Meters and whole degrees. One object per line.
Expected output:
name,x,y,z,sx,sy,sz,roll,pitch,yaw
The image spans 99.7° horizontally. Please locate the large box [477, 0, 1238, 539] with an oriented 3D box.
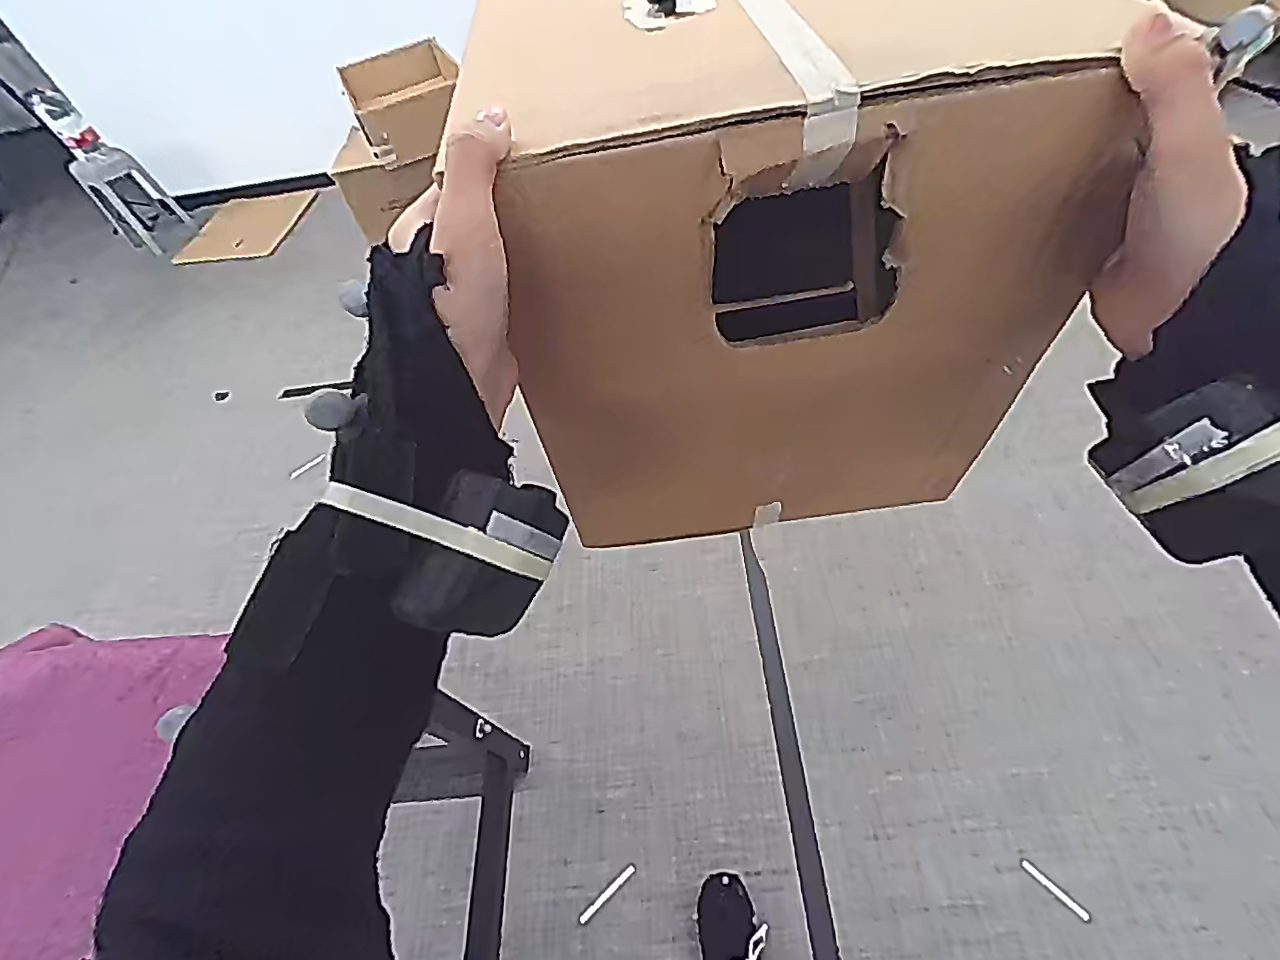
large box,0.075,-0.214,0.447,0.320,0.320,0.408,-9,55,2
